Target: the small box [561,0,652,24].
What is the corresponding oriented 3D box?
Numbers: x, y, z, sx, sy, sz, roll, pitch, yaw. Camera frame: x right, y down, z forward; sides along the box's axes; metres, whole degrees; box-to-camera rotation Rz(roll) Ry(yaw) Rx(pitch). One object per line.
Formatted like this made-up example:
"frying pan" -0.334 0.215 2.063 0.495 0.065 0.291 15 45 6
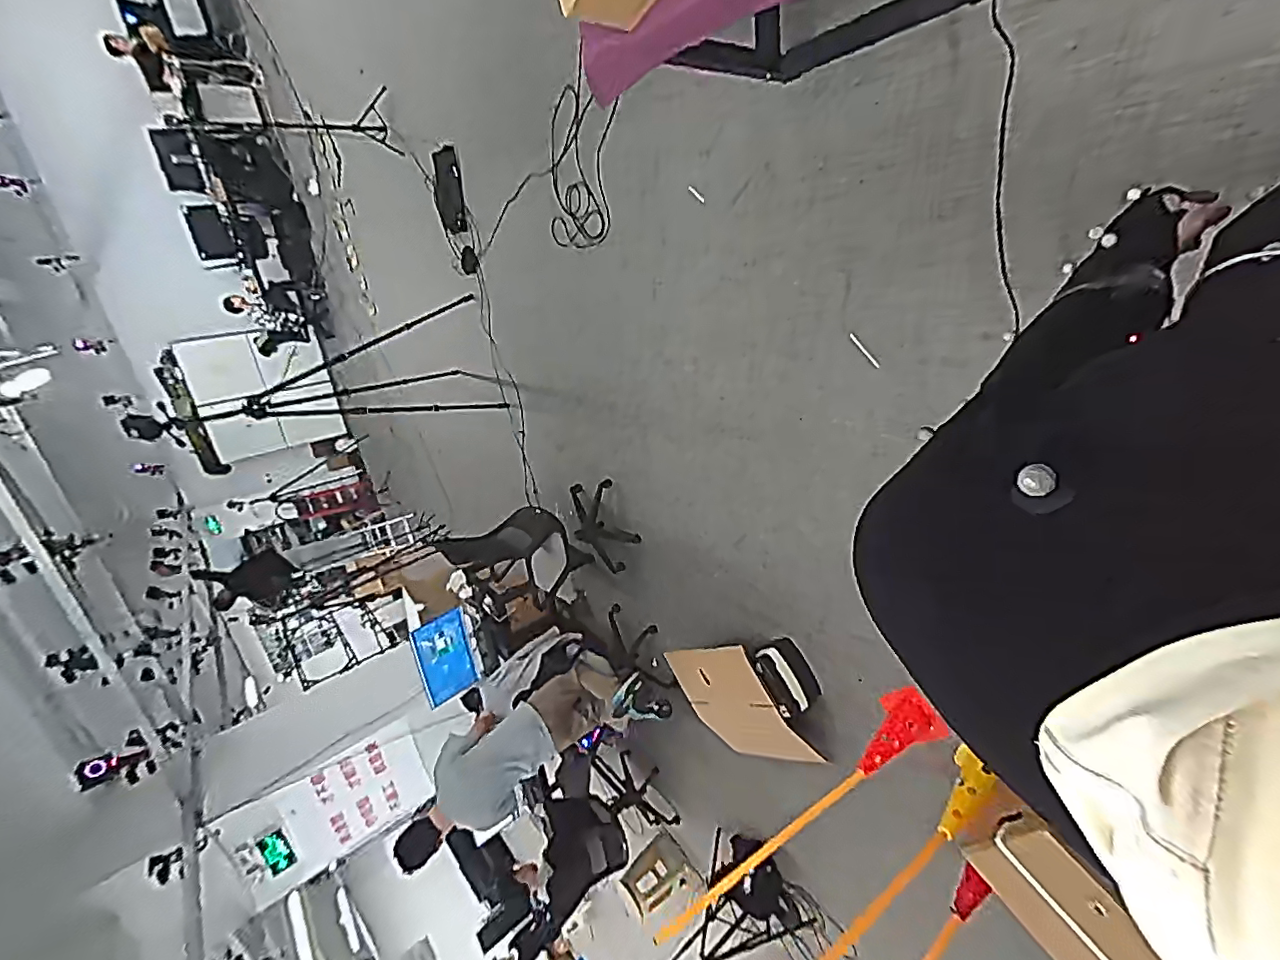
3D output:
"small box" -0.054 -0.991 1.000 0.168 0.176 0.179 -3 106 53
